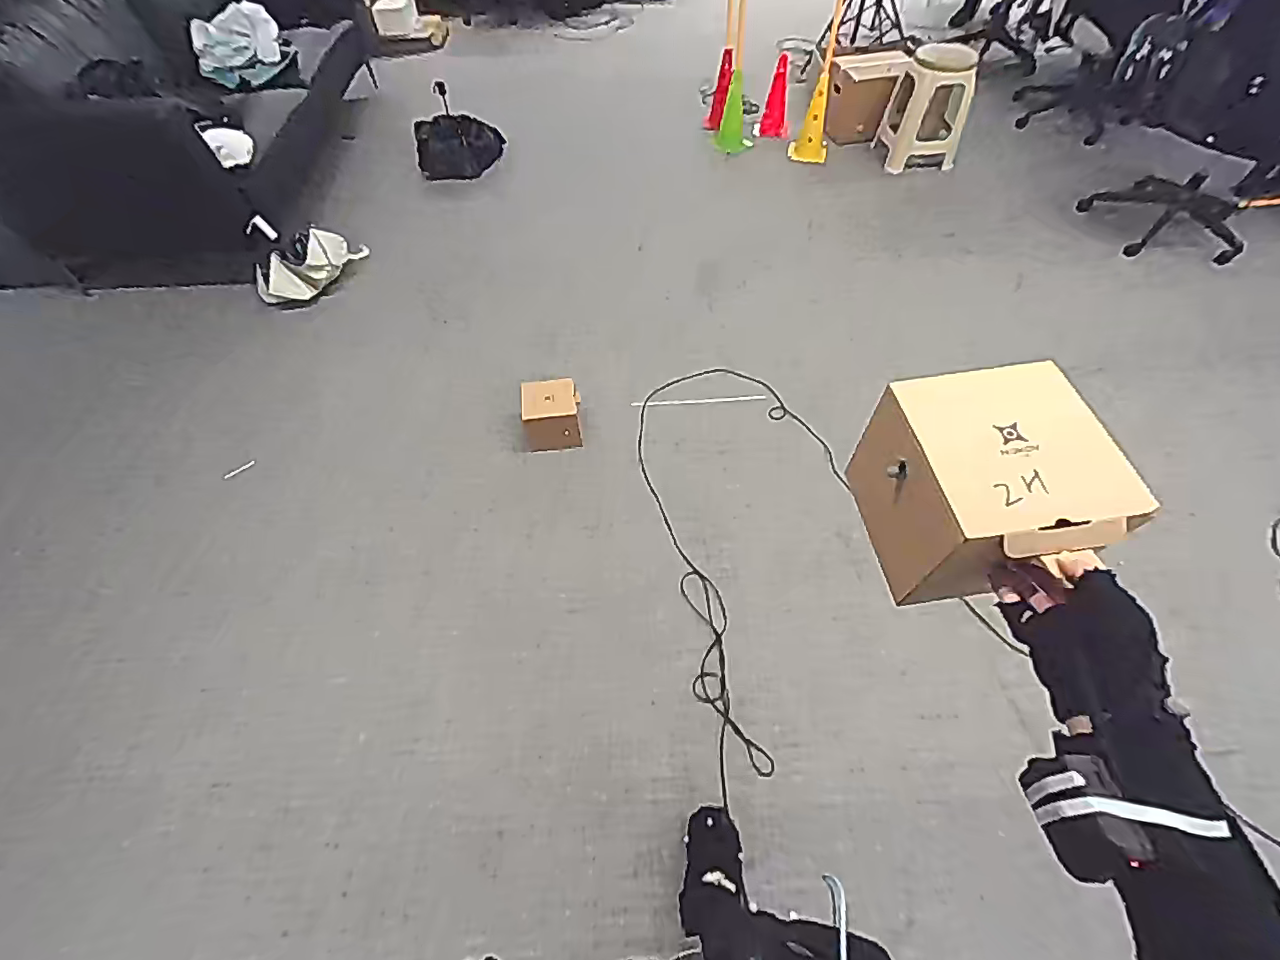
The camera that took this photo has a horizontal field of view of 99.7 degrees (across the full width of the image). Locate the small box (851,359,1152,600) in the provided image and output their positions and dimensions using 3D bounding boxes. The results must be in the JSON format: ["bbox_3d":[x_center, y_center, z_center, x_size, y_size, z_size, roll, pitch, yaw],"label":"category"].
[{"bbox_3d":[0.339,0.005,0.558,0.168,0.176,0.179,-9,58,0],"label":"small box"}]

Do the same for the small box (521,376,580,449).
[{"bbox_3d":[-0.292,-0.220,1.787,0.179,0.176,0.168,-7,55,-3],"label":"small box"}]
